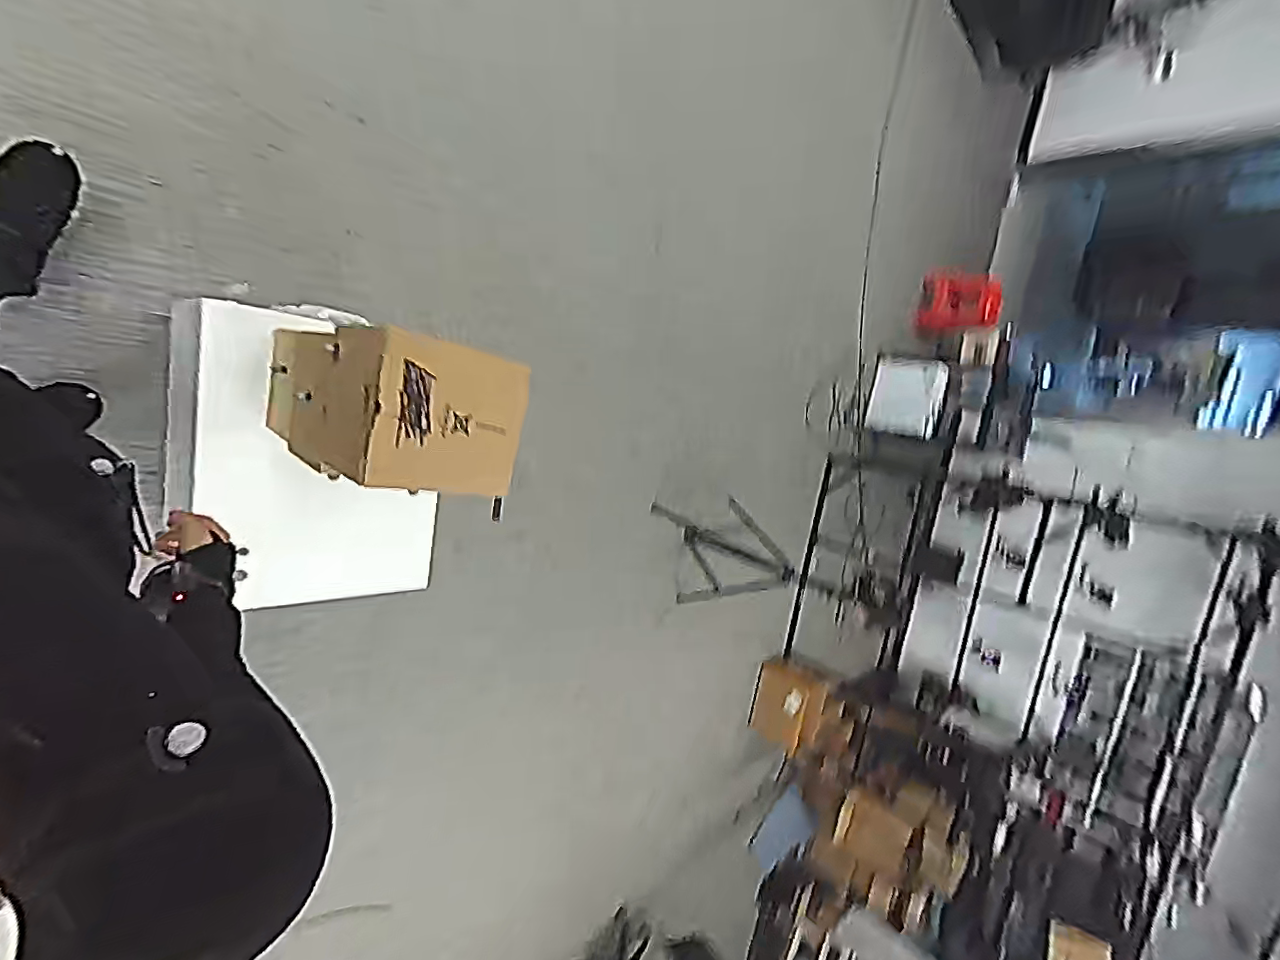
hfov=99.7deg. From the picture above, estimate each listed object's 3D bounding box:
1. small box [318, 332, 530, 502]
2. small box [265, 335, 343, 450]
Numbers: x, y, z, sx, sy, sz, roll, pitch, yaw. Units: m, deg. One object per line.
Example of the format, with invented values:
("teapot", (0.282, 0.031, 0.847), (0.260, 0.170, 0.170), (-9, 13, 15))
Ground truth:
("small box", (-0.266, -0.075, 0.659), (0.179, 0.176, 0.168), (7, 97, -48))
("small box", (-0.494, -0.138, 0.888), (0.179, 0.176, 0.168), (3, 101, -46))
